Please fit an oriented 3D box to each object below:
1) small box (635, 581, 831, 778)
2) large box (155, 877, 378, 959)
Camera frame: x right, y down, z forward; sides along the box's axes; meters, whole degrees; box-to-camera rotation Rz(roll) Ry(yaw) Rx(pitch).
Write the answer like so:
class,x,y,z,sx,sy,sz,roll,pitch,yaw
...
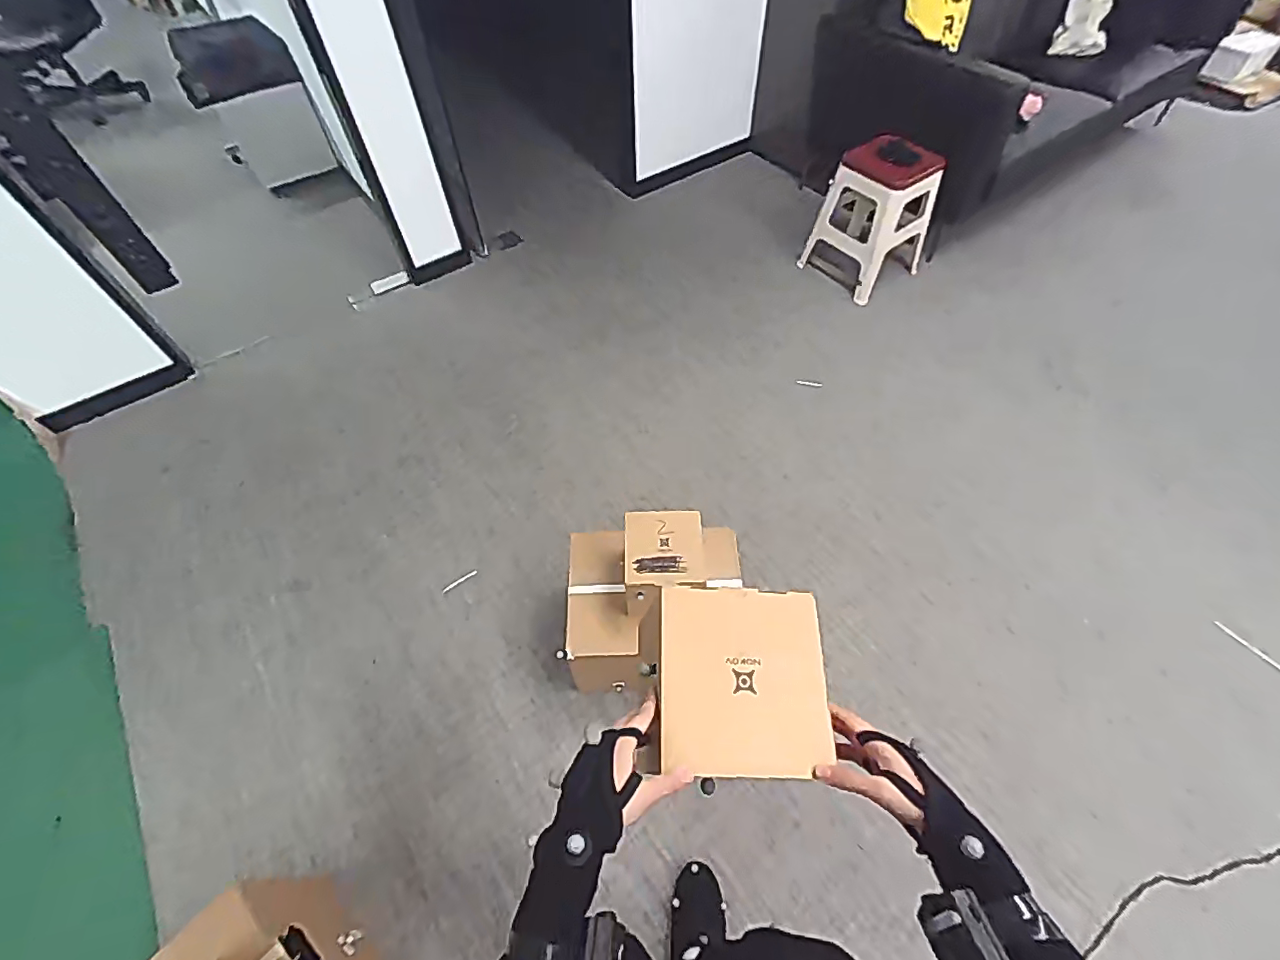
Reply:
class,x,y,z,sx,sy,sz,roll,pitch,yaw
small box,0.086,0.223,0.589,0.168,0.176,0.179,4,60,-6
large box,-0.725,1.000,0.938,0.320,0.320,0.408,34,63,24
